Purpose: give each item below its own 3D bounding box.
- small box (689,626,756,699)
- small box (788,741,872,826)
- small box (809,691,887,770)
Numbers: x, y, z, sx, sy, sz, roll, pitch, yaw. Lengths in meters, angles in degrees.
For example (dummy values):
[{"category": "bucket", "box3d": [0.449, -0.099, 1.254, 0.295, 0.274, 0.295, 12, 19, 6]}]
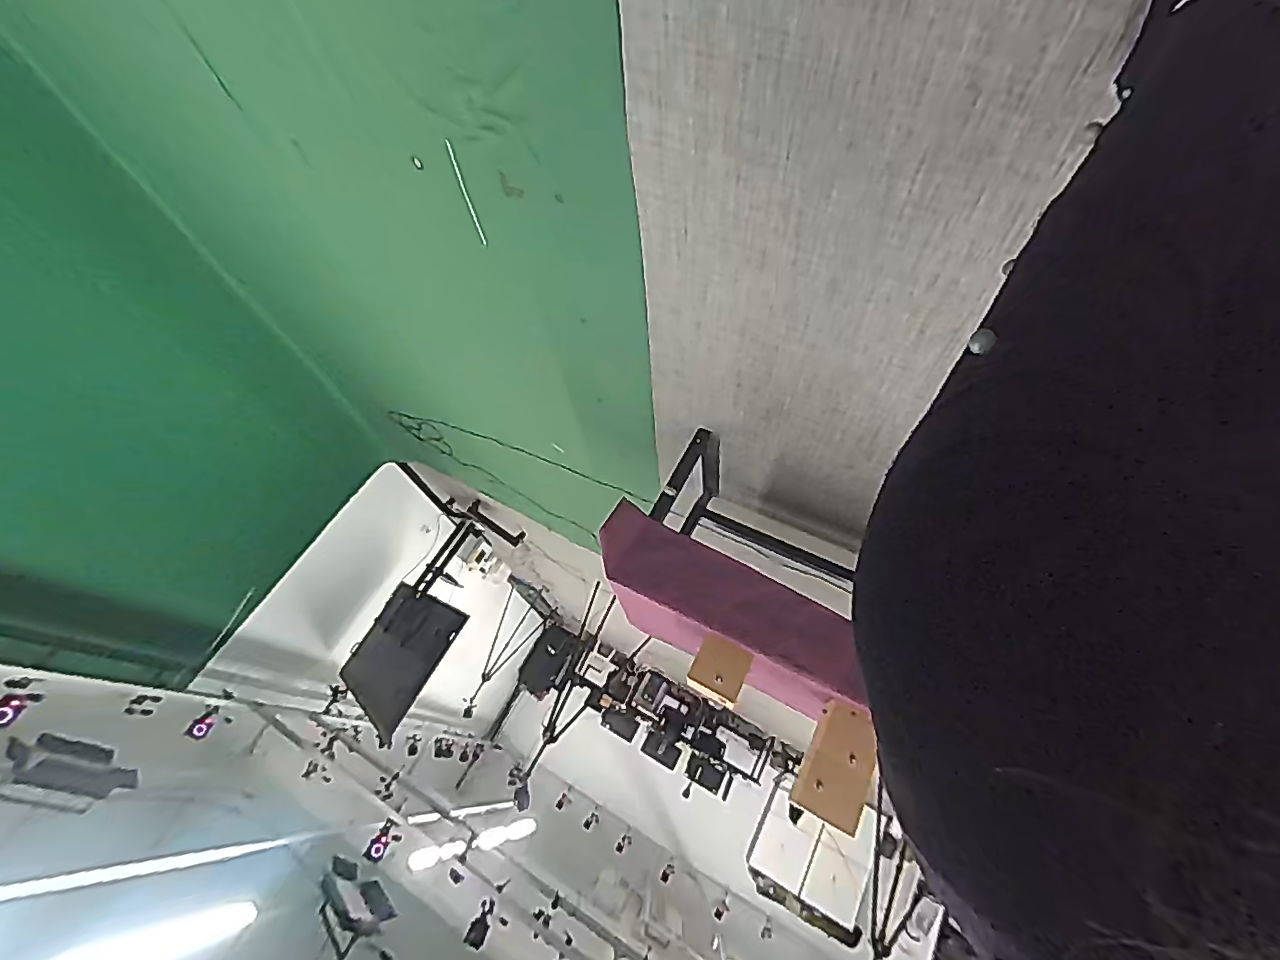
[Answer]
[{"category": "small box", "box3d": [0.284, 0.626, 1.857, 0.179, 0.176, 0.168, 24, 157, 18]}, {"category": "small box", "box3d": [0.583, 0.926, 1.665, 0.179, 0.176, 0.168, 24, 158, 16]}, {"category": "small box", "box3d": [0.663, 0.797, 1.726, 0.168, 0.176, 0.179, 24, 158, 17]}]
